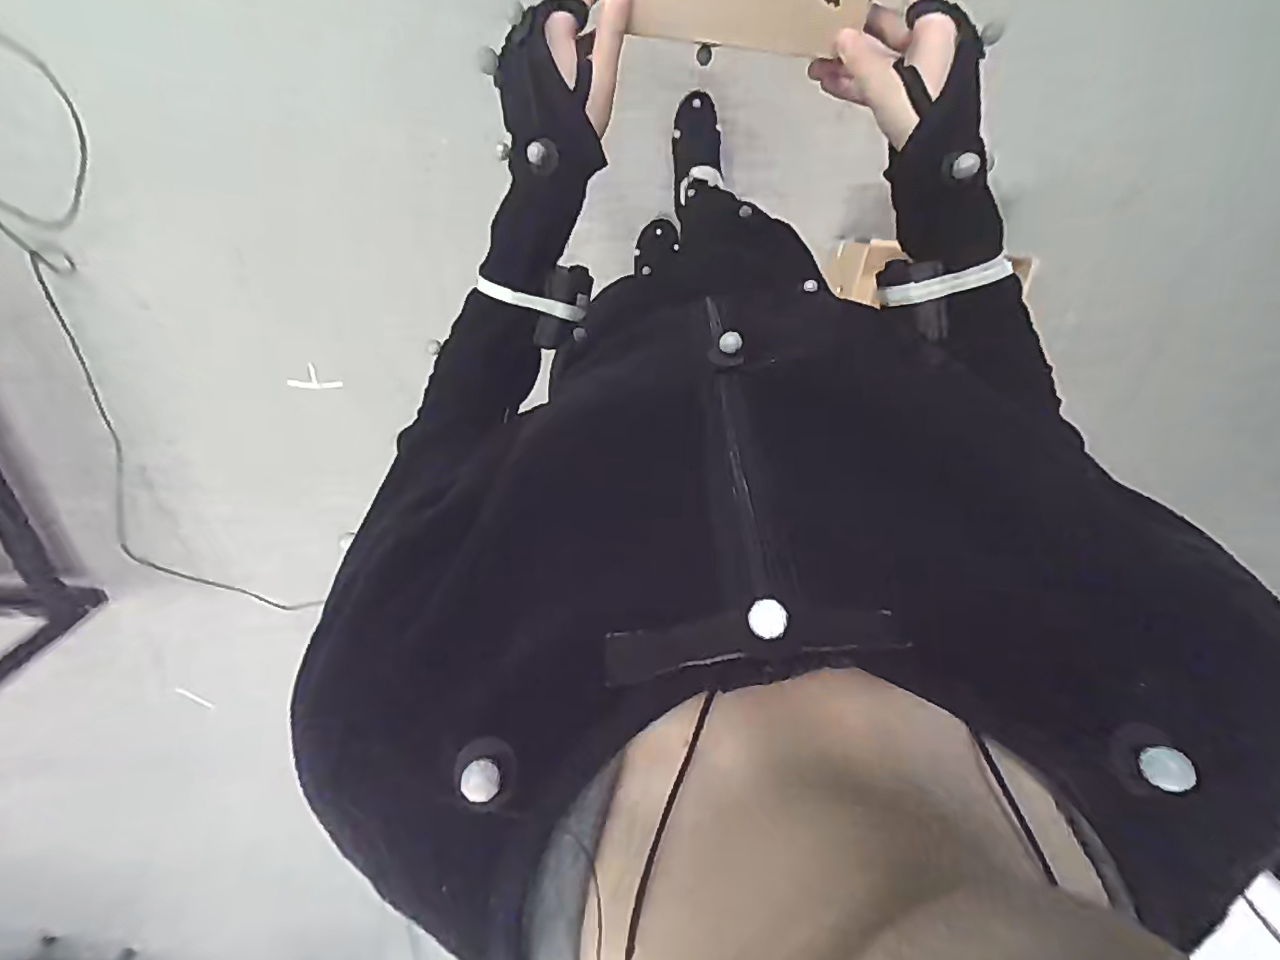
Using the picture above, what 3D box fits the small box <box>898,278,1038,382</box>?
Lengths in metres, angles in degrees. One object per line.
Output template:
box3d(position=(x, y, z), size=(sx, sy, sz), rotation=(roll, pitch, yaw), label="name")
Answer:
box3d(position=(0.668, -0.317, 1.129), size=(0.168, 0.176, 0.179), rotation=(2, 120, -2), label="small box")
